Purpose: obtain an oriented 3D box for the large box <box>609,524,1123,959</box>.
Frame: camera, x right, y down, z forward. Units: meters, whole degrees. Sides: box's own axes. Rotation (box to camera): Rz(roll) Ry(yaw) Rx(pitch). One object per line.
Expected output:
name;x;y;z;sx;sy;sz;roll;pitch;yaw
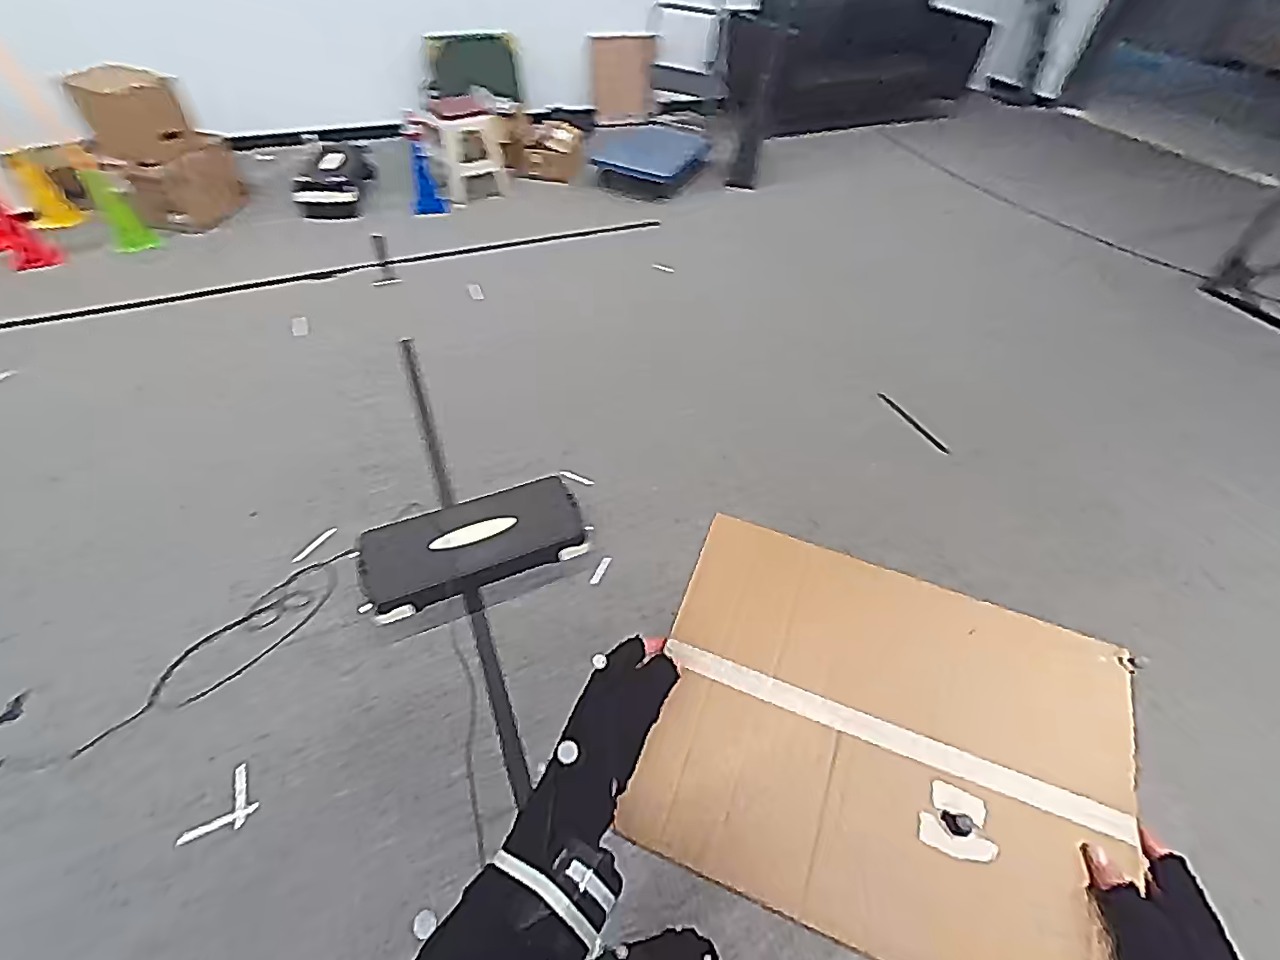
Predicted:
large box;0.208;0.299;0.615;0.408;0.320;0.320;17;62;11
